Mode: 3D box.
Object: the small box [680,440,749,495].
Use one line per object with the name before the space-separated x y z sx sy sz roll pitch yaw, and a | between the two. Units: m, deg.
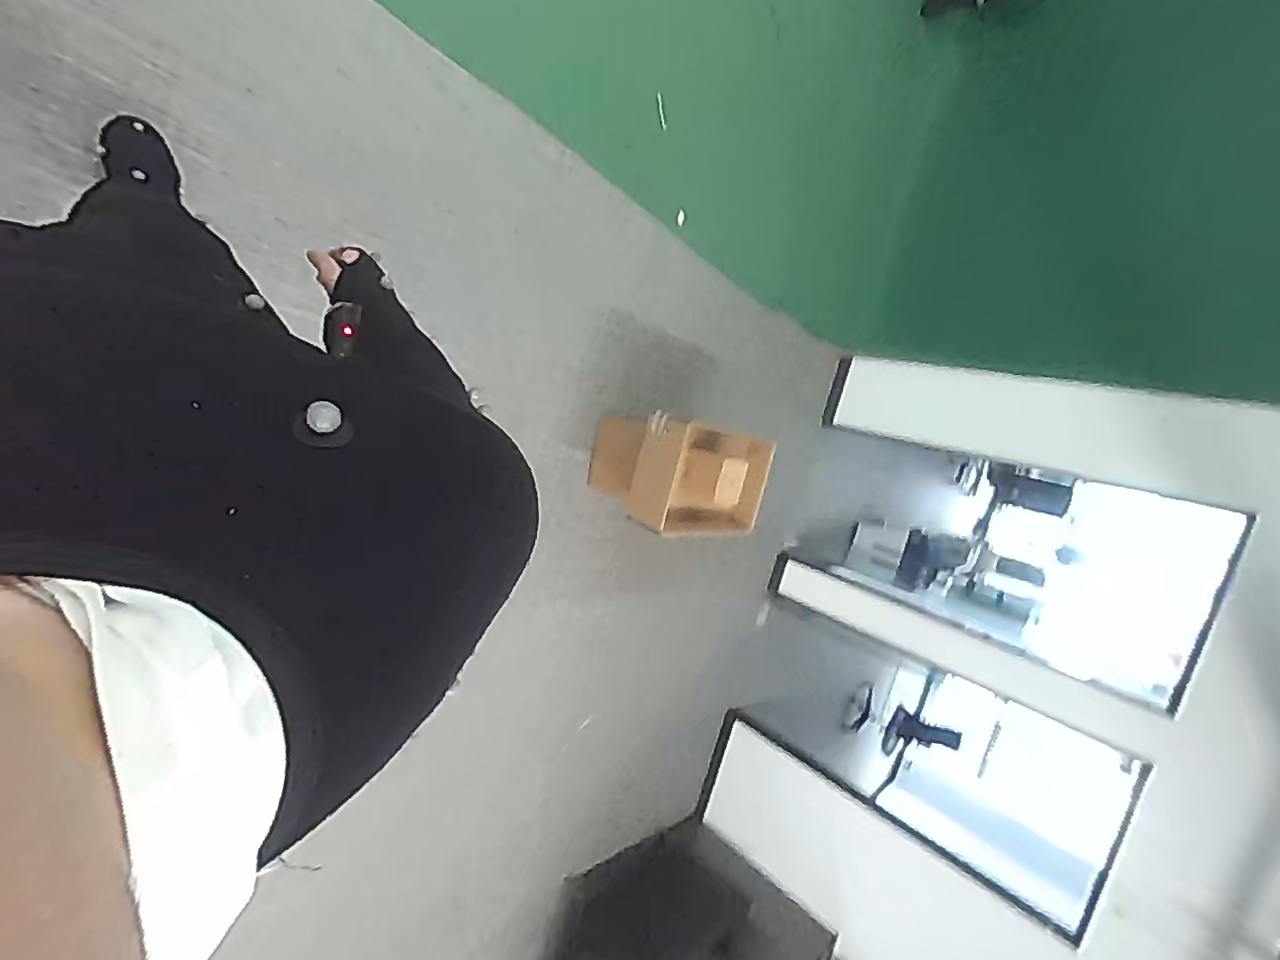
small box | 0.280 -0.048 2.045 0.179 0.176 0.168 5 101 -50
